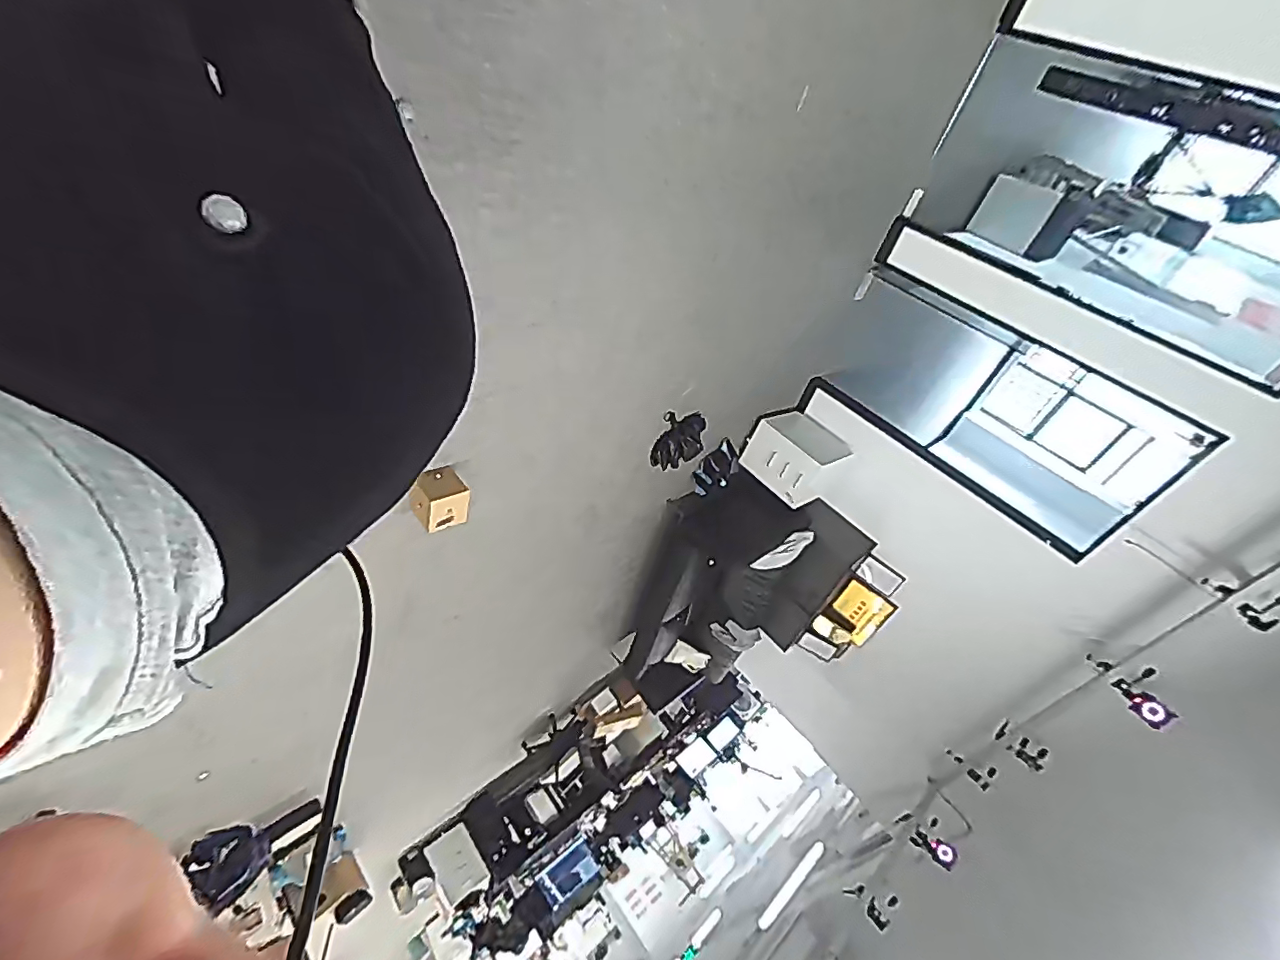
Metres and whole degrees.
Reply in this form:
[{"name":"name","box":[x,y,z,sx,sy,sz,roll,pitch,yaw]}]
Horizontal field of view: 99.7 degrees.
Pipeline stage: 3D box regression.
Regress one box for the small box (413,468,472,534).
[{"name":"small box","box":[-0.795,0.080,2.166,0.168,0.176,0.179,-20,142,-41]}]
